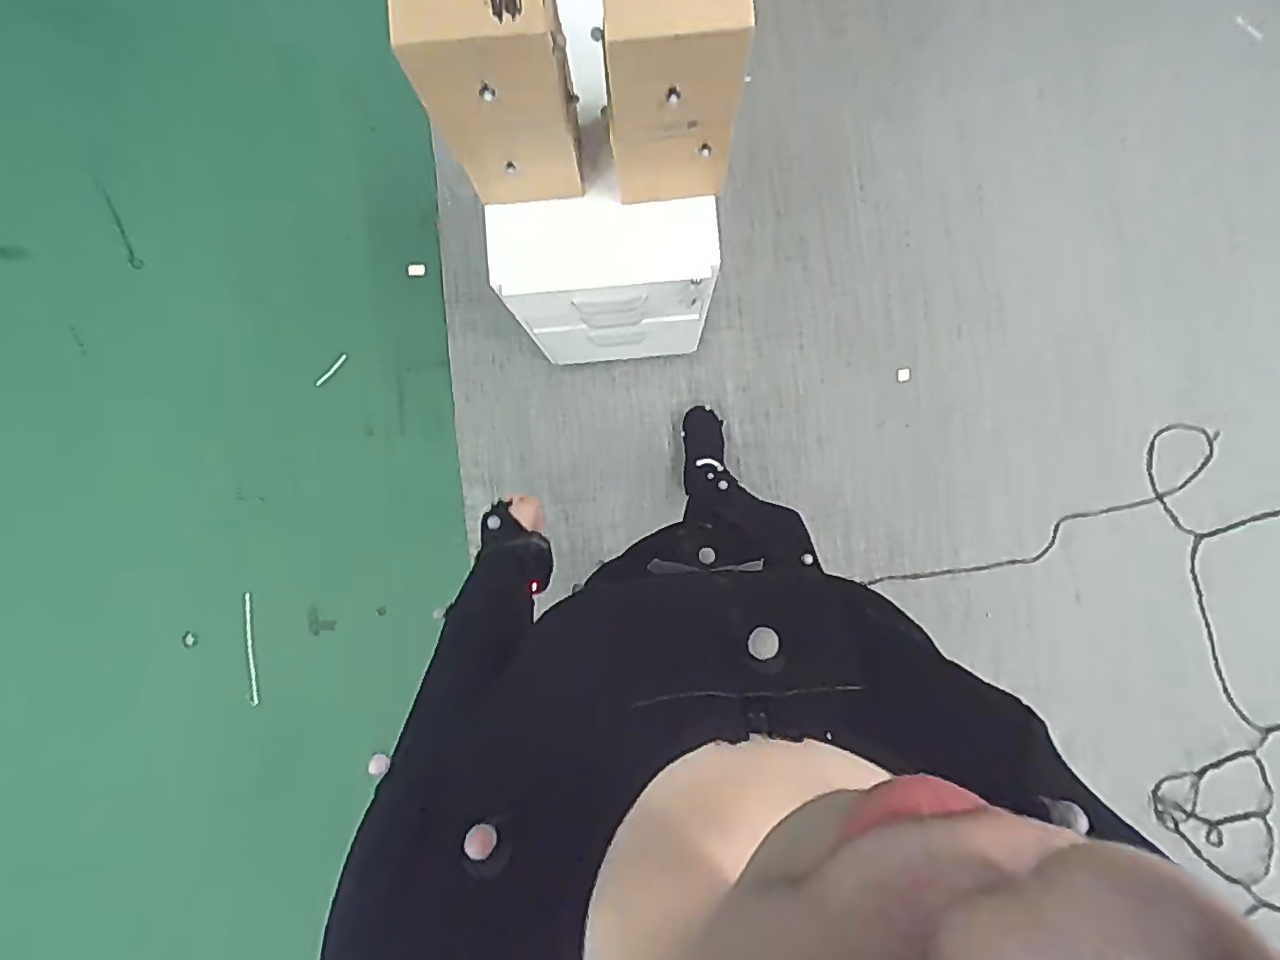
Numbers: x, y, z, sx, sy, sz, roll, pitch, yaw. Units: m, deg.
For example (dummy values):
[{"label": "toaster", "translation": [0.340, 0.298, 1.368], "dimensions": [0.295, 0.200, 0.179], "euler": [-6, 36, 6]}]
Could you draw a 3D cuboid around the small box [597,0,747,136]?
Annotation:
[{"label": "small box", "translation": [0.035, -0.561, 0.674], "dimensions": [0.168, 0.176, 0.179], "euler": [-4, 88, 1]}]

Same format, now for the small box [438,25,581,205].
[{"label": "small box", "translation": [-0.194, -0.554, 0.844], "dimensions": [0.179, 0.176, 0.168], "euler": [-5, 88, 0]}]
